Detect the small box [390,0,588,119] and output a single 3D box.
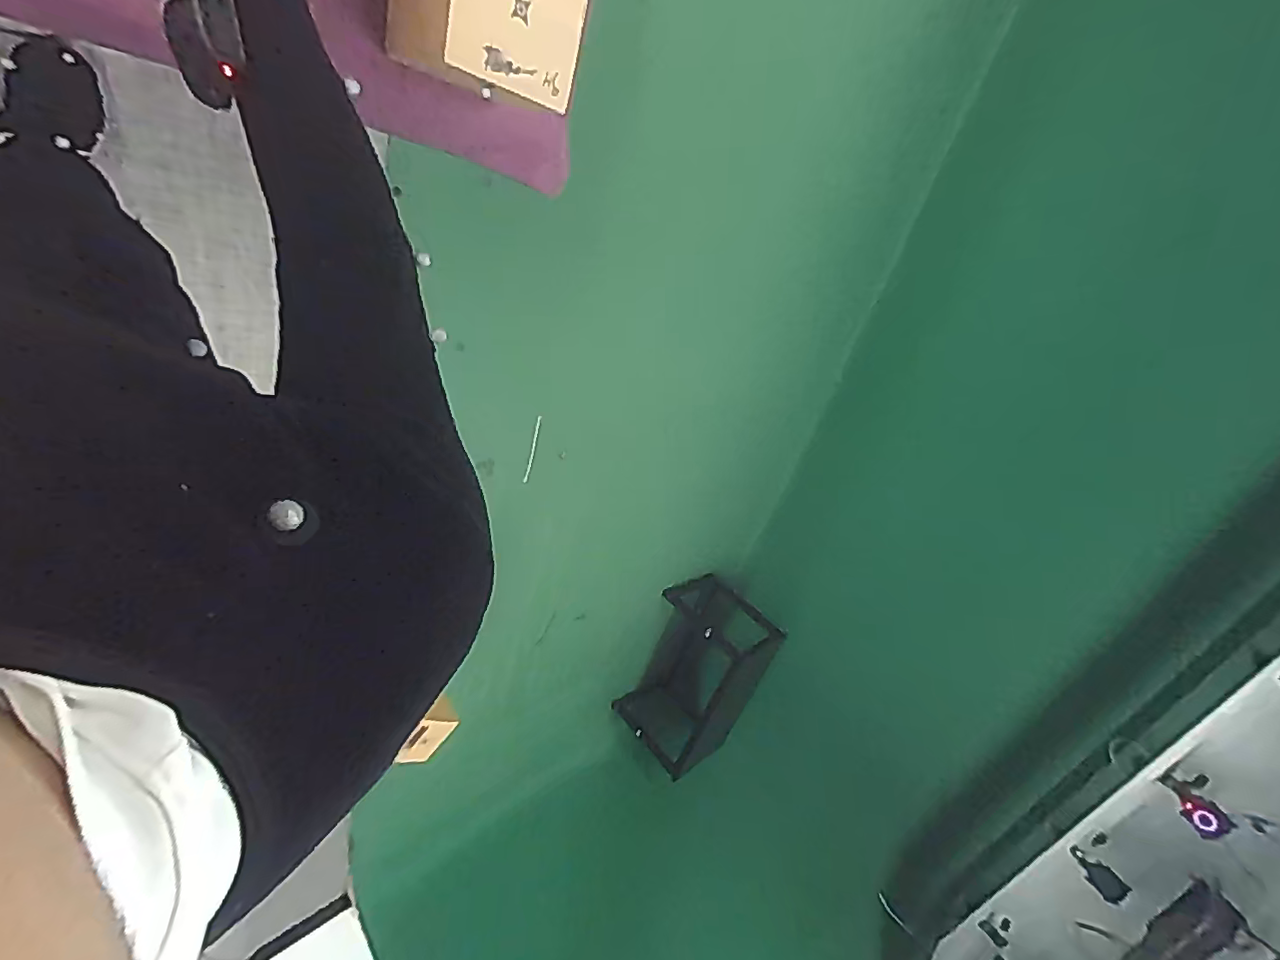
[{"bbox_3d":[-0.184,-0.567,0.650,0.168,0.176,0.179,-9,125,-44],"label":"small box"}]
